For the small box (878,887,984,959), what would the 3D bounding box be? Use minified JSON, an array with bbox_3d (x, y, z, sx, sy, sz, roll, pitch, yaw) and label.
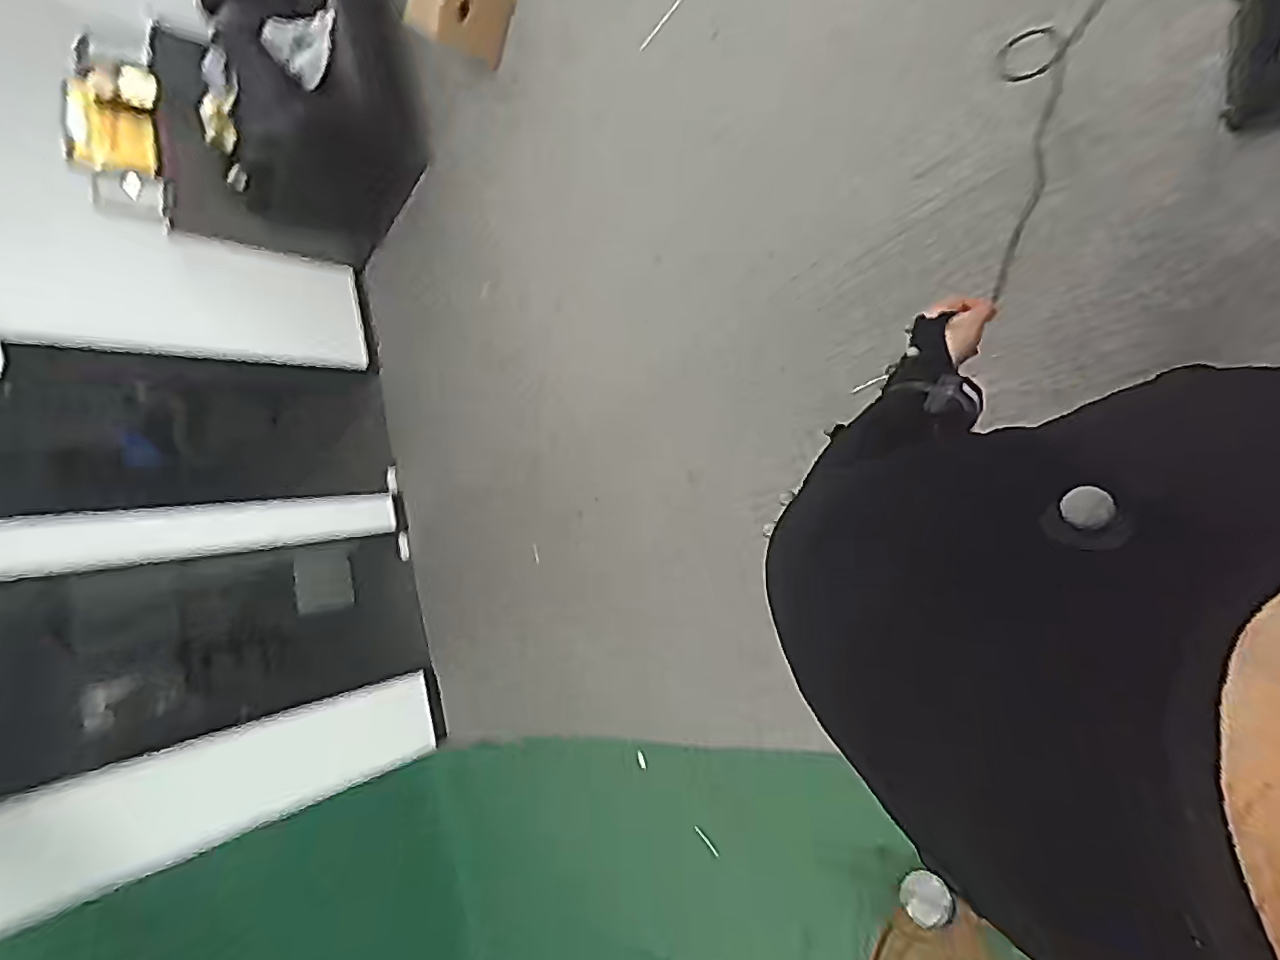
[{"bbox_3d":[0.734,1.171,1.359,0.179,0.176,0.168,-18,80,44],"label":"small box"}]
